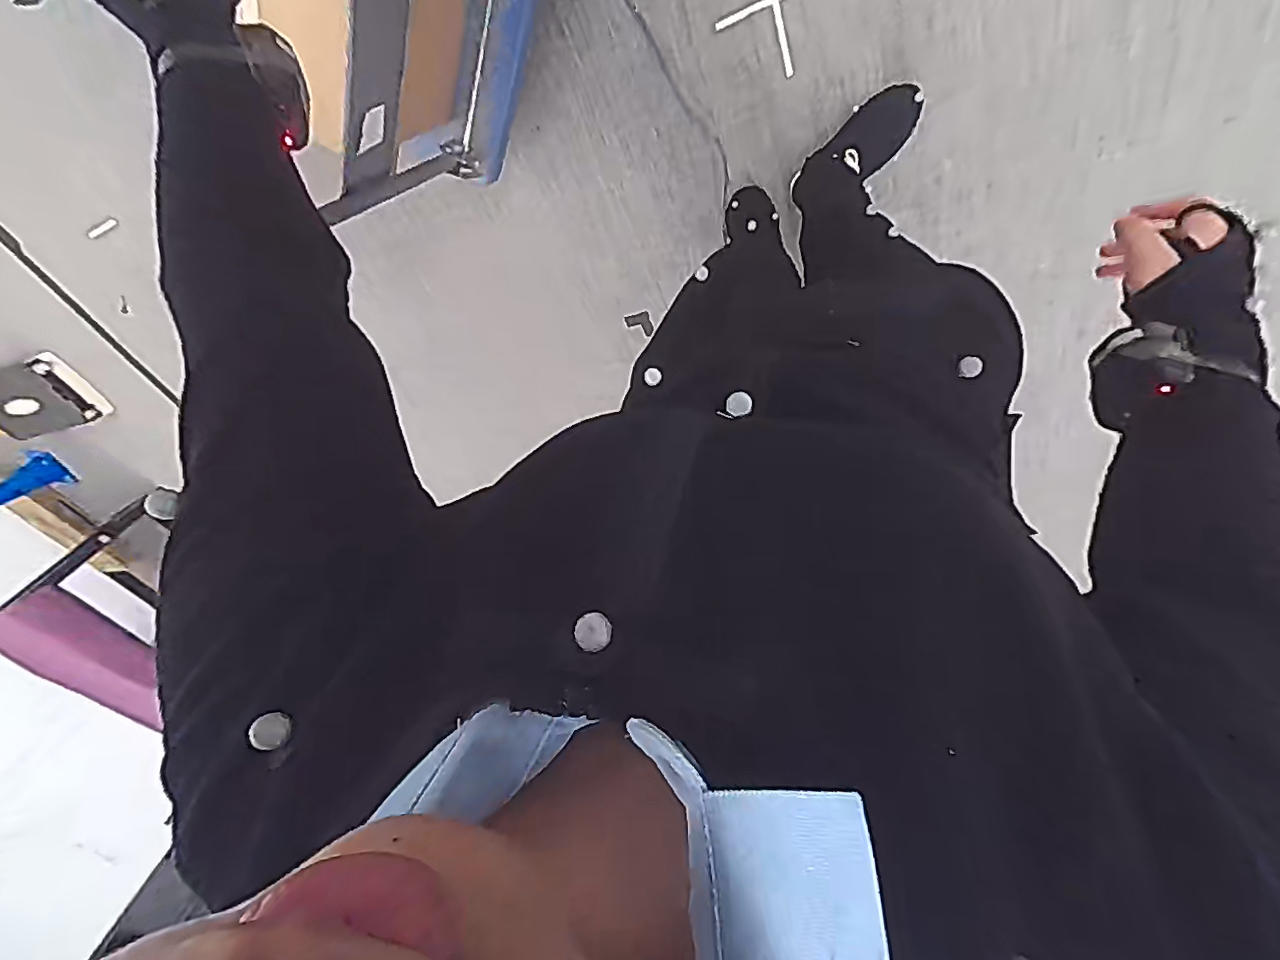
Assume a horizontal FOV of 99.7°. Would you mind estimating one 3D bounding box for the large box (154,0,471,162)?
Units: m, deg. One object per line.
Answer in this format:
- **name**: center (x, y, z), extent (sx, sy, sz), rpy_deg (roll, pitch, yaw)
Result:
- **large box**: center (-0.453, -0.769, 0.788), extent (0.320, 0.320, 0.408), rpy_deg (26, 133, -8)
